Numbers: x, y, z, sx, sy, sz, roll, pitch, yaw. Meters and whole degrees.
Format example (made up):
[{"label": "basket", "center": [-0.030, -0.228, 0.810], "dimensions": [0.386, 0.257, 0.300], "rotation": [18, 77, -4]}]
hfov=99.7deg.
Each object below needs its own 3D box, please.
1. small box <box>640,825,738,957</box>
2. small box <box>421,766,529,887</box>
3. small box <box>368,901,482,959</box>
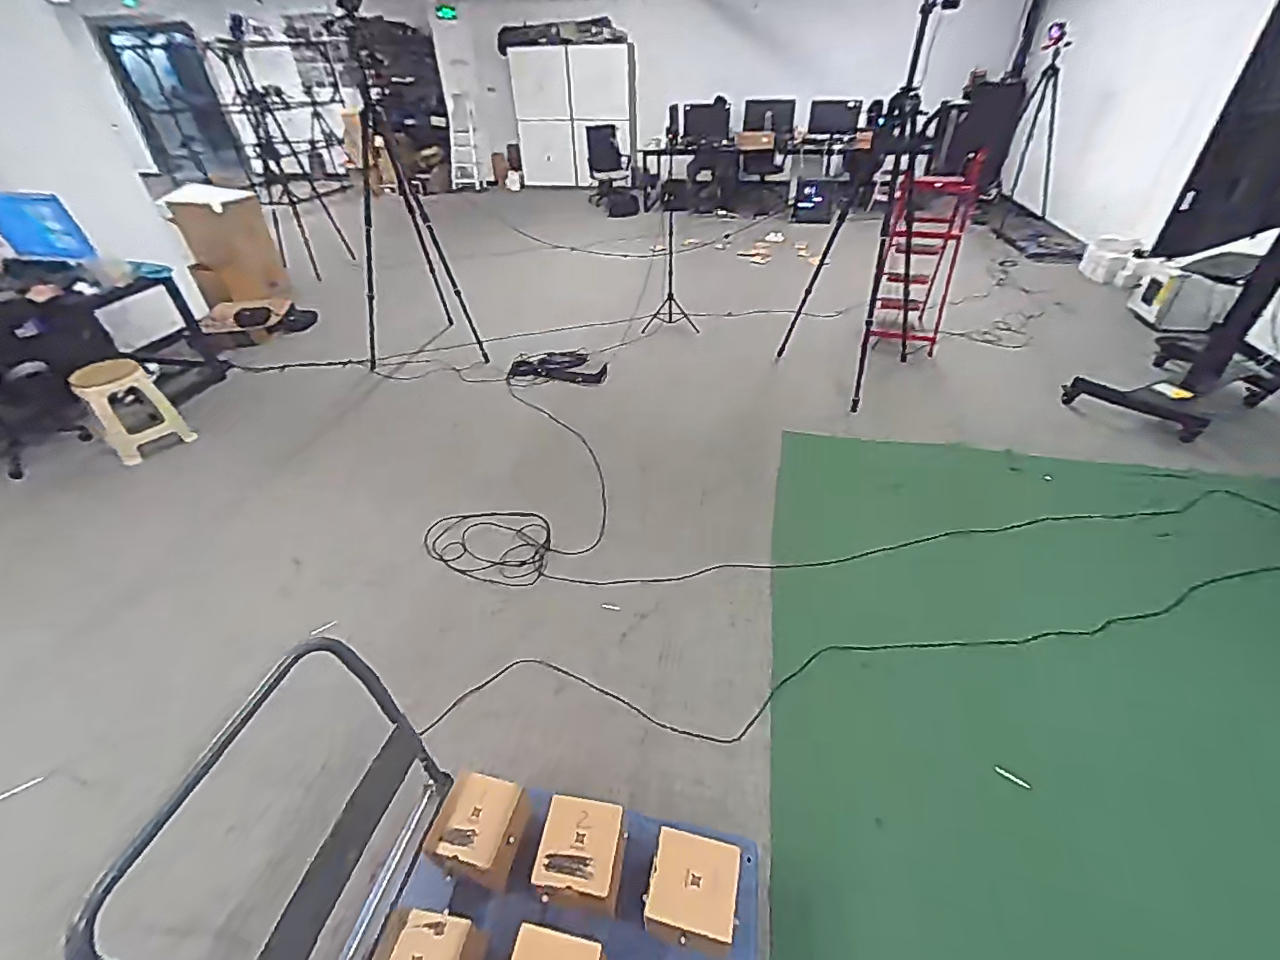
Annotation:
[{"label": "small box", "center": [0.108, 0.879, 1.155], "dimensions": [0.179, 0.176, 0.168], "rotation": [8, 40, 13]}, {"label": "small box", "center": [-0.373, 0.811, 1.262], "dimensions": [0.168, 0.176, 0.179], "rotation": [8, 39, 12]}, {"label": "small box", "center": [-0.428, 0.970, 1.060], "dimensions": [0.168, 0.176, 0.179], "rotation": [5, 39, 9]}]
